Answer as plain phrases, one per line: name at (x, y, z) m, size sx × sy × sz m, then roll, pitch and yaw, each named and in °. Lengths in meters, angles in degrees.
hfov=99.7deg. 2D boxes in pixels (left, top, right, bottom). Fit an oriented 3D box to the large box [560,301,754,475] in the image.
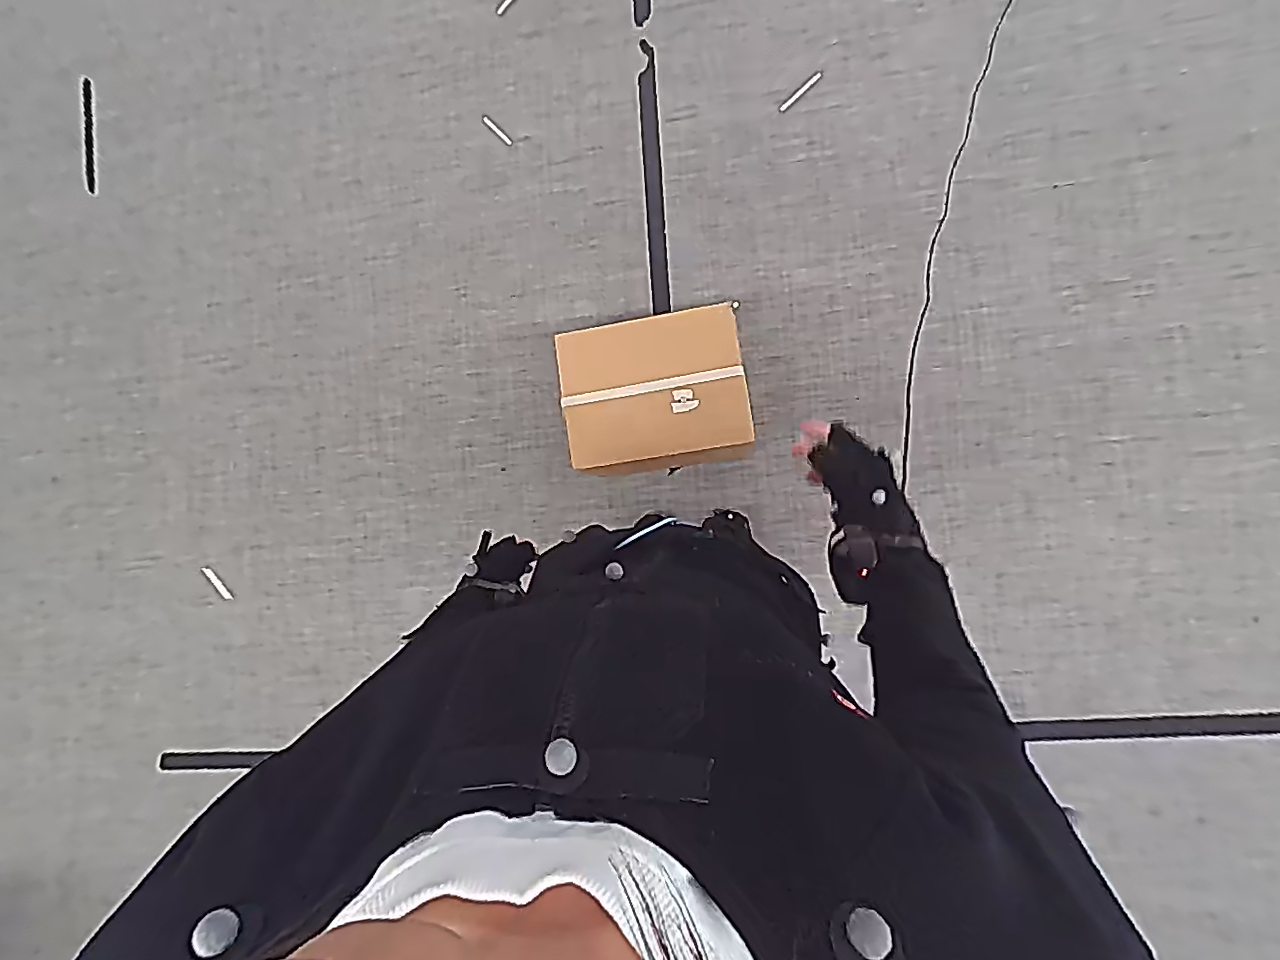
large box at (0.049, -0.204, 1.349) m, size 0.408 × 0.320 × 0.320 m, roll -9°, pitch 86°, yaw 7°
